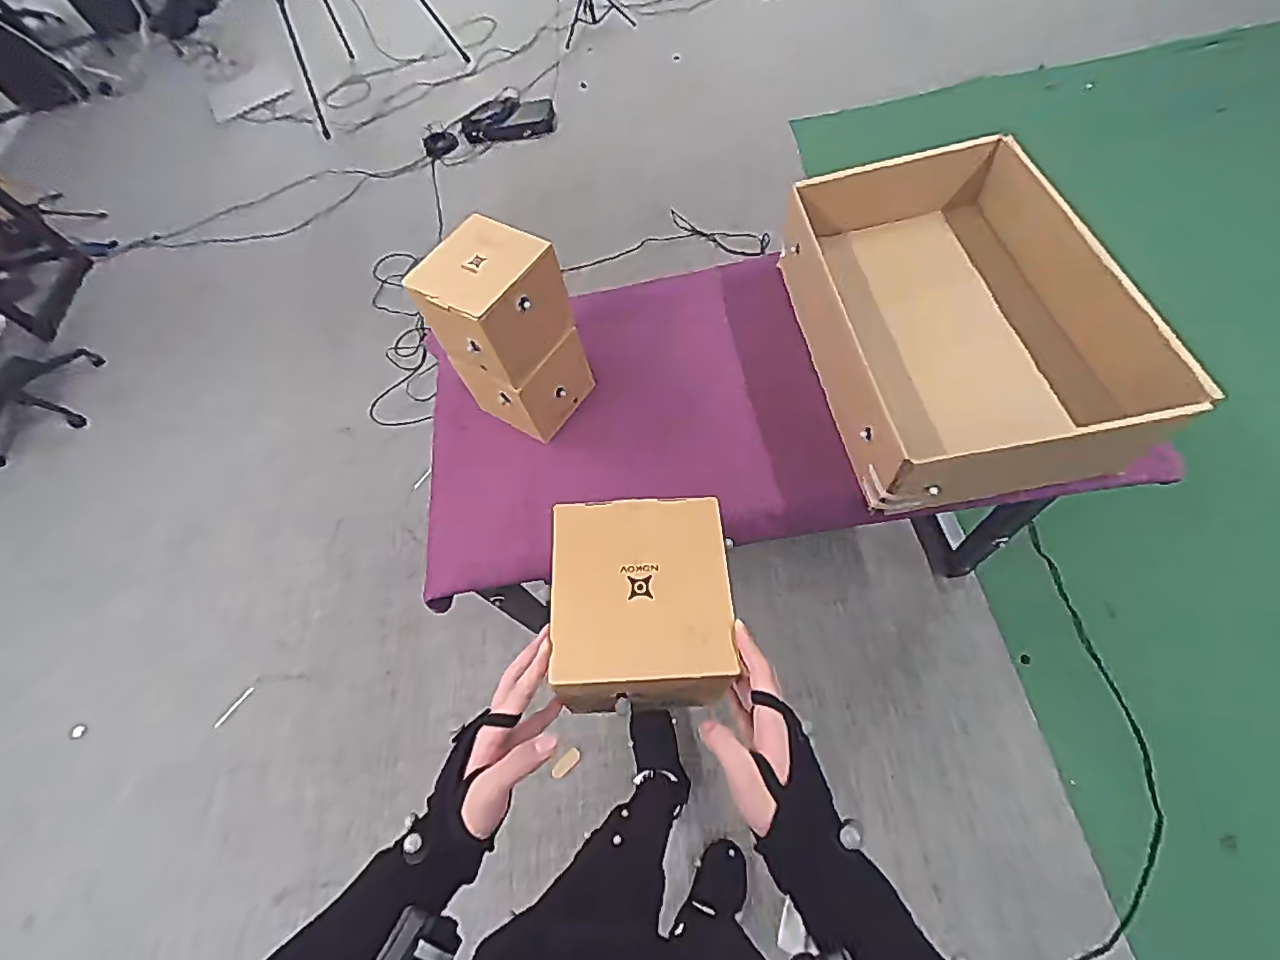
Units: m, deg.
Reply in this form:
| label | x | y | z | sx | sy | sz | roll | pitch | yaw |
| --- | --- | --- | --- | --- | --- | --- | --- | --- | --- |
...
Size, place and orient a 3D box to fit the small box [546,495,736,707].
| label | x | y | z | sx | sy | sz | roll | pitch | yaw |
| --- | --- | --- | --- | --- | --- | --- | --- | --- | --- |
| small box | -0.001 | 0.134 | 0.568 | 0.168 | 0.176 | 0.179 | -3 | 58 | -1 |

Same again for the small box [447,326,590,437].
| label | x | y | z | sx | sy | sz | roll | pitch | yaw |
| --- | --- | --- | --- | --- | --- | --- | --- | --- | --- |
| small box | -0.217 | -0.206 | 1.018 | 0.179 | 0.176 | 0.168 | 29 | 69 | 21 |

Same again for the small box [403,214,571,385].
| label | x | y | z | sx | sy | sz | roll | pitch | yaw |
| --- | --- | --- | --- | --- | --- | --- | --- | --- | --- |
| small box | -0.234 | -0.286 | 0.877 | 0.168 | 0.176 | 0.179 | 30 | 70 | 20 |
